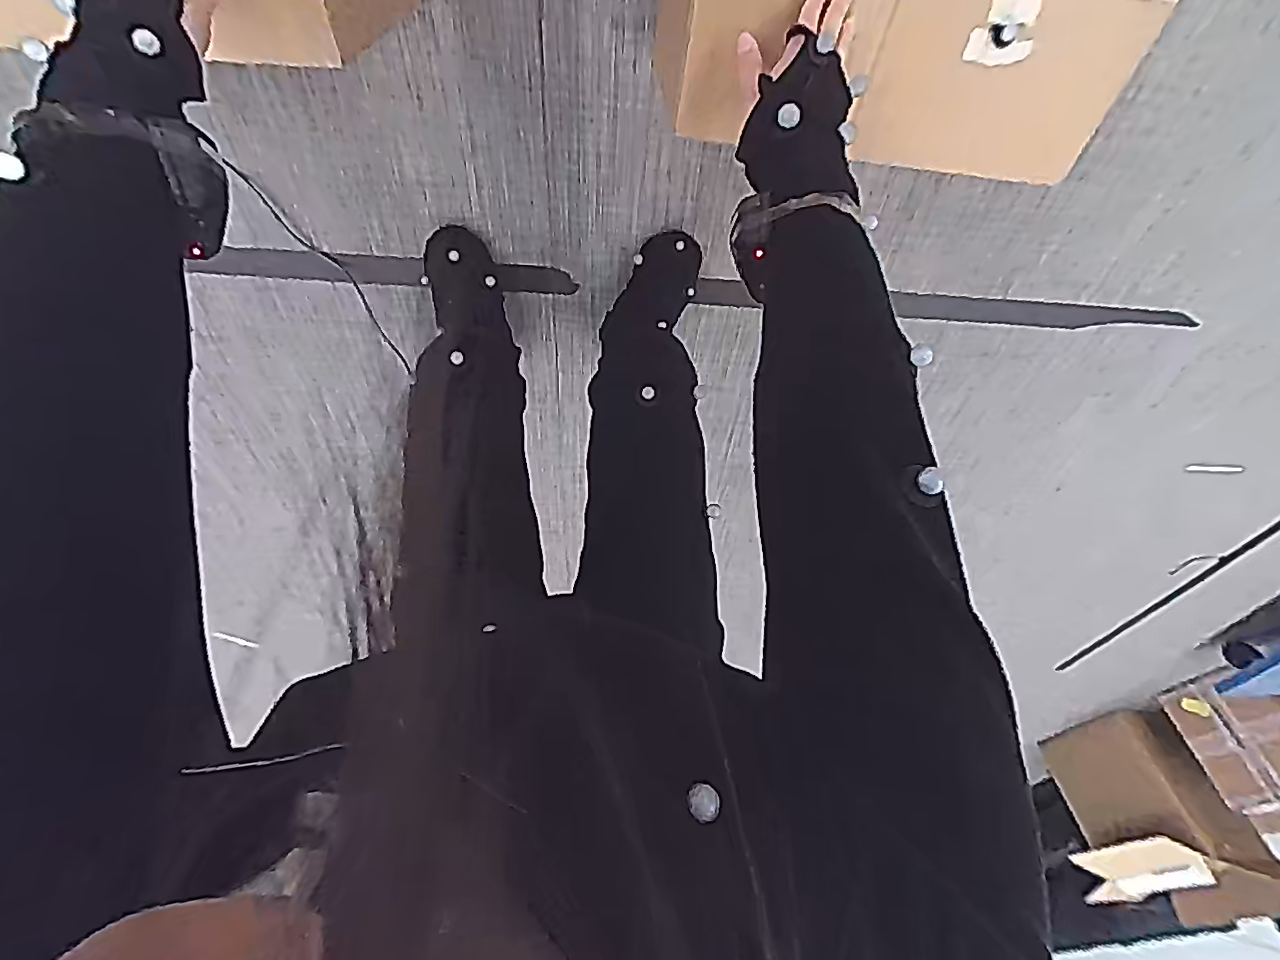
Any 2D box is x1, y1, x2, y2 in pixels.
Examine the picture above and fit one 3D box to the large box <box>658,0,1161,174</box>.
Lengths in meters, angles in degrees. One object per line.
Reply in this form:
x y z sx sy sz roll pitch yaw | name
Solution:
0.244 -0.540 0.533 0.408 0.320 0.320 3 138 -8 | large box
